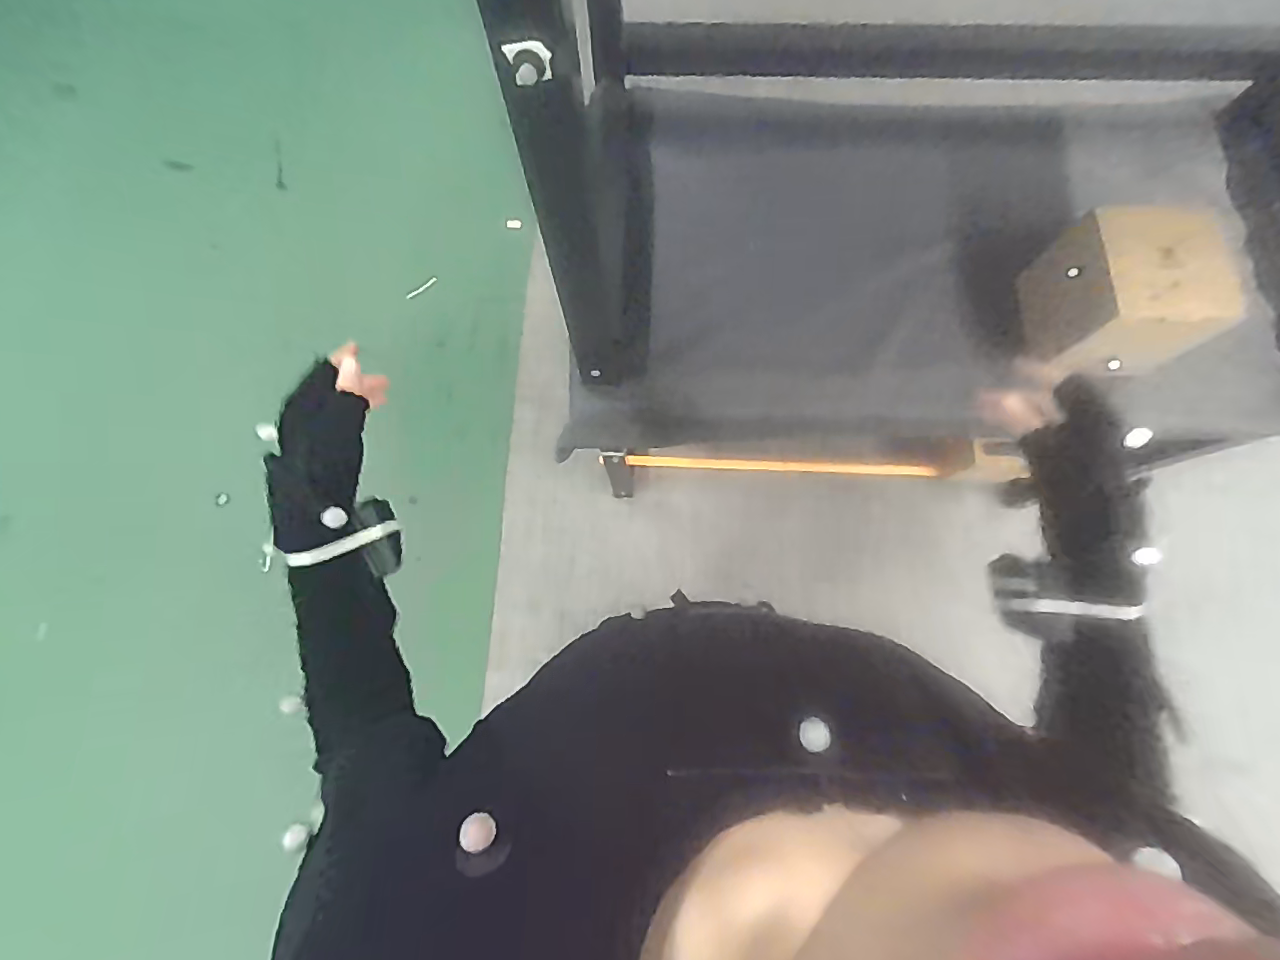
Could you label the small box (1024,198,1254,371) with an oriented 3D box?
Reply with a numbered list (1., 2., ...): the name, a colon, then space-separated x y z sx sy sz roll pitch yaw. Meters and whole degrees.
1. small box: 0.701 -0.278 0.788 0.168 0.176 0.179 0 74 2
